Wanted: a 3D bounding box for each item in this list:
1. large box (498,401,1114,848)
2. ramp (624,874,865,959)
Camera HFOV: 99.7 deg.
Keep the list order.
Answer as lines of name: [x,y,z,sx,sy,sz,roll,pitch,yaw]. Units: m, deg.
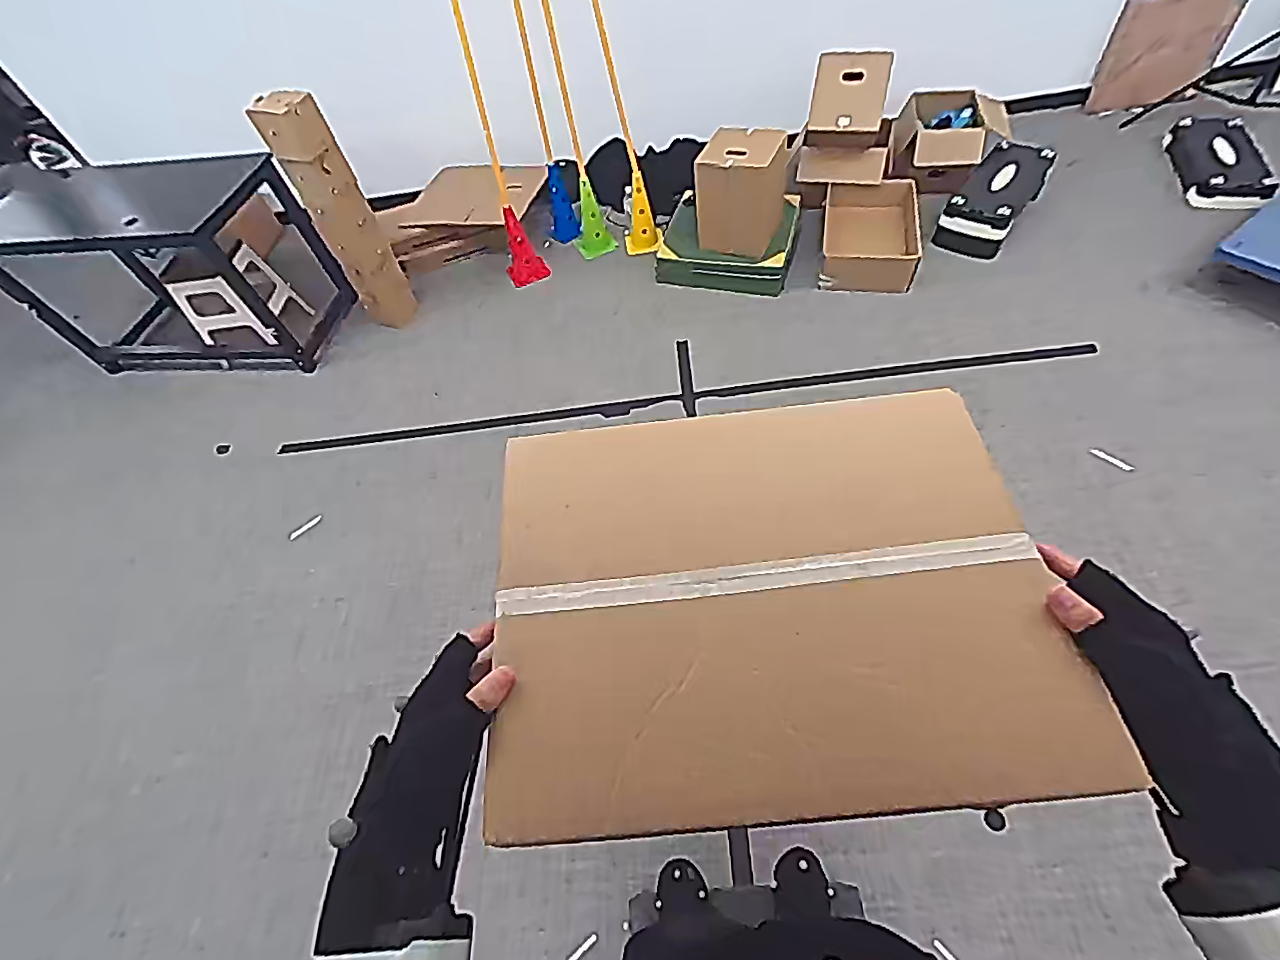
large box: [0.105,0.156,0.546,0.408,0.320,0.320,-6,58,1]
ramp: [0.239,1.319,0.963,0.509,0.206,0.991,-6,55,2]
